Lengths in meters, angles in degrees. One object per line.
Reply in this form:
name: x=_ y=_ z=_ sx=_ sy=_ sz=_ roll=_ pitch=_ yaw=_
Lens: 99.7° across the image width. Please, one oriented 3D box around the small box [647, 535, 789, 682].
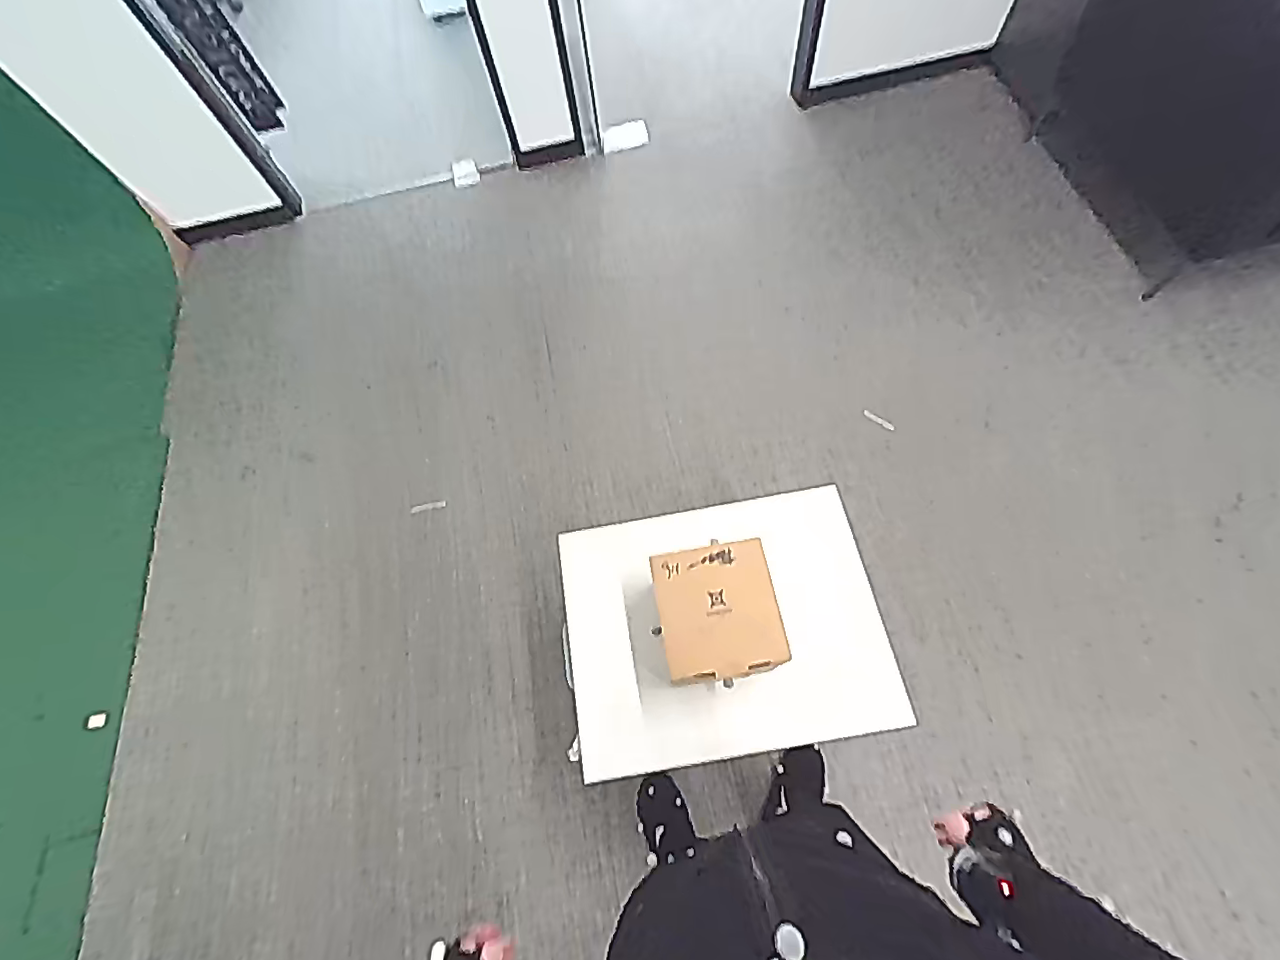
small box: x=0.112 y=0.204 z=0.823 sx=0.168 sy=0.176 sz=0.179 roll=-12 pitch=65 yaw=0
